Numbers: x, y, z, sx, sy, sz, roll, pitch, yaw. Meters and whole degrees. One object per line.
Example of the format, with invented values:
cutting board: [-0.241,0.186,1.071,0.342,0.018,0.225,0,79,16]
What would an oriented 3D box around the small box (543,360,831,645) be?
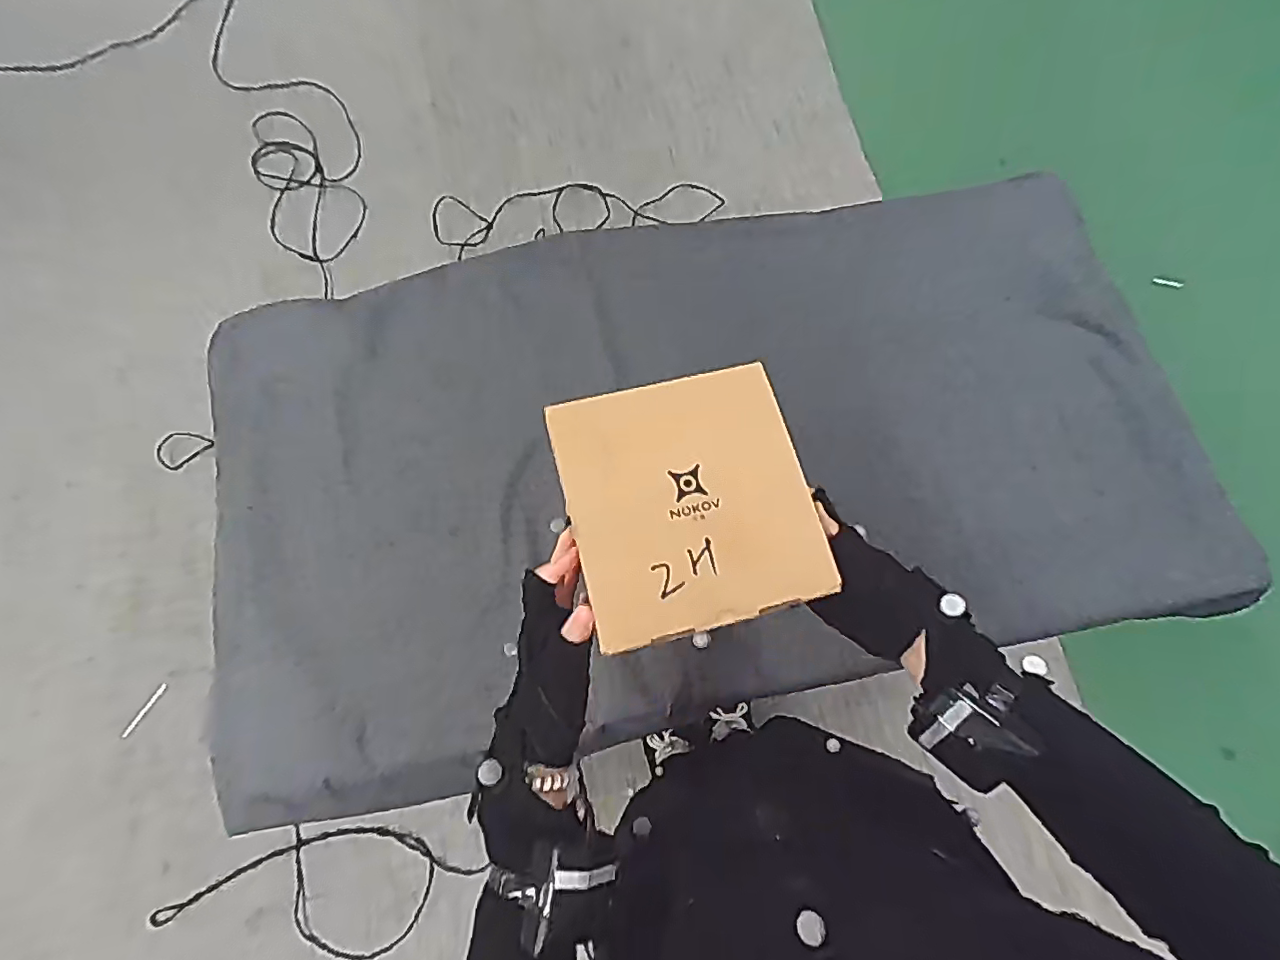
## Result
small box: [0.023,0.030,0.446,0.168,0.176,0.179,-13,75,-7]
